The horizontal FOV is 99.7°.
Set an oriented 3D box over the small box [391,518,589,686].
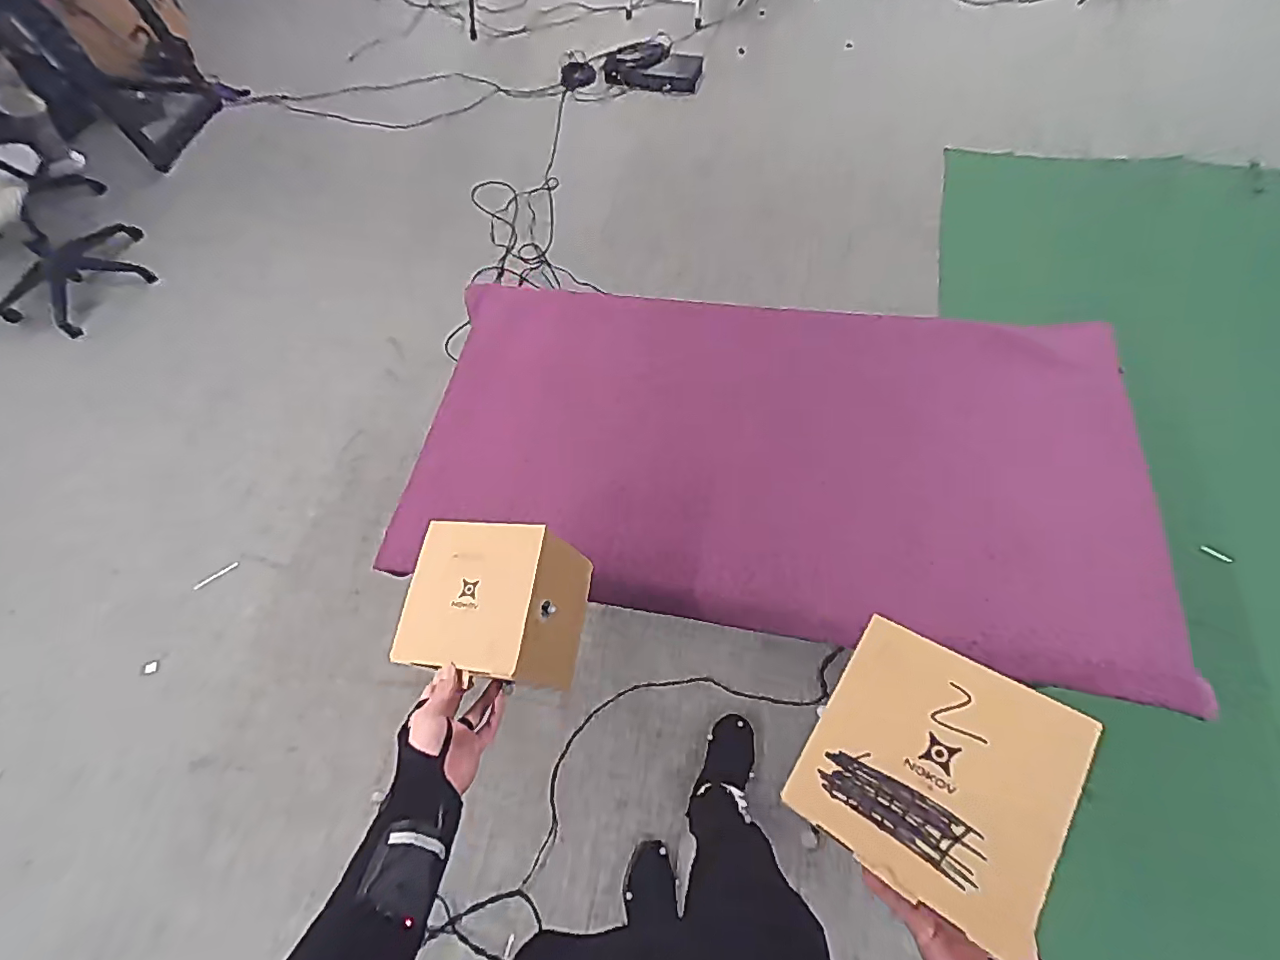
[{"bbox_3d":[-0.178,0.162,0.701,0.168,0.176,0.179,1,65,17],"label":"small box"}]
